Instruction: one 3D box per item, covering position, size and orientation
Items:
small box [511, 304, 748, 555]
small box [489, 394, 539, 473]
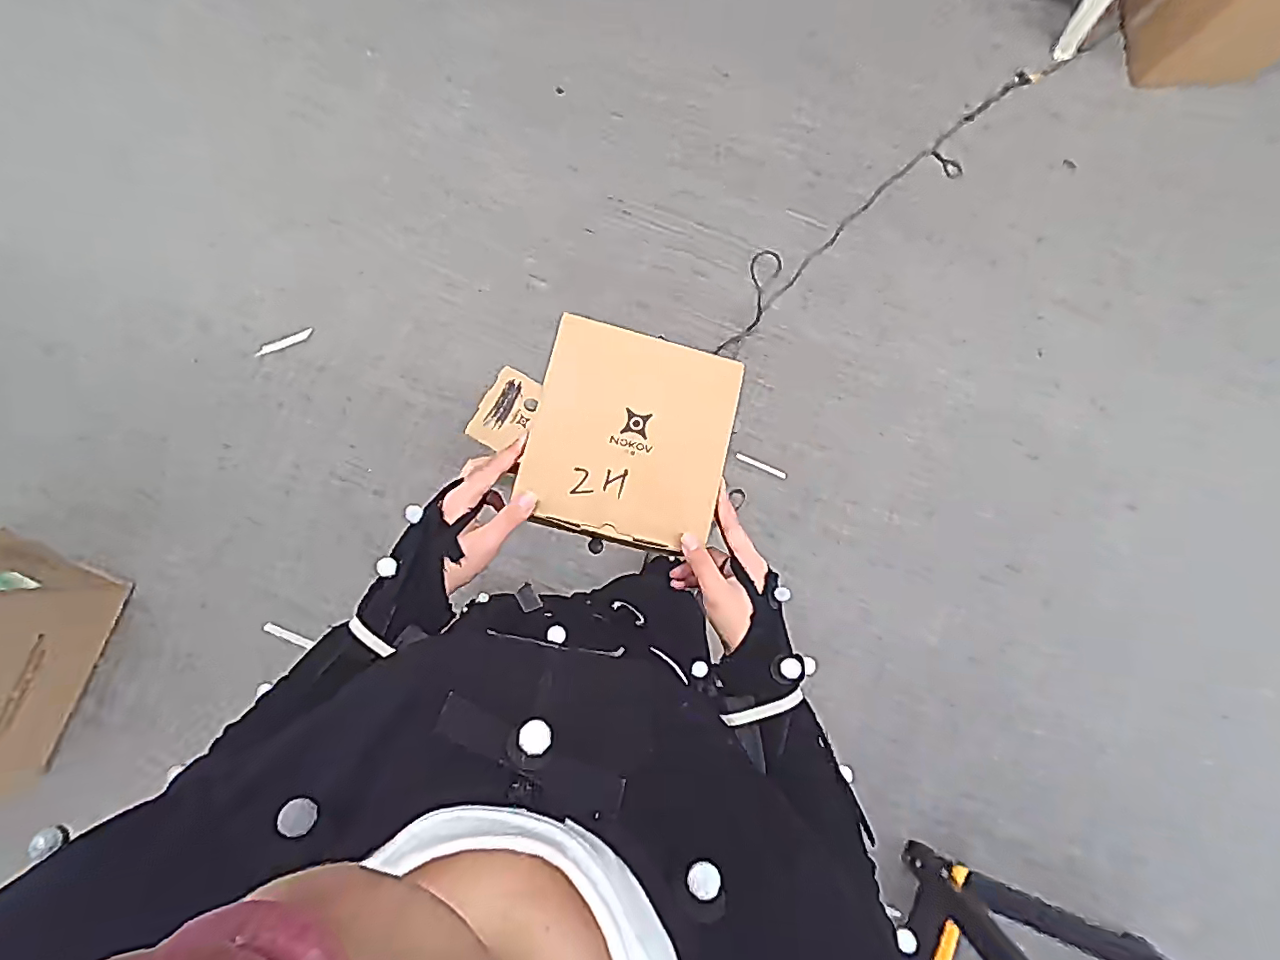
[{"bbox_3d":[-0.015,-0.032,0.519,0.168,0.176,0.179,15,80,-5],"label":"small box"},{"bbox_3d":[-0.236,-0.080,1.325,0.168,0.176,0.179,31,86,5],"label":"small box"}]
